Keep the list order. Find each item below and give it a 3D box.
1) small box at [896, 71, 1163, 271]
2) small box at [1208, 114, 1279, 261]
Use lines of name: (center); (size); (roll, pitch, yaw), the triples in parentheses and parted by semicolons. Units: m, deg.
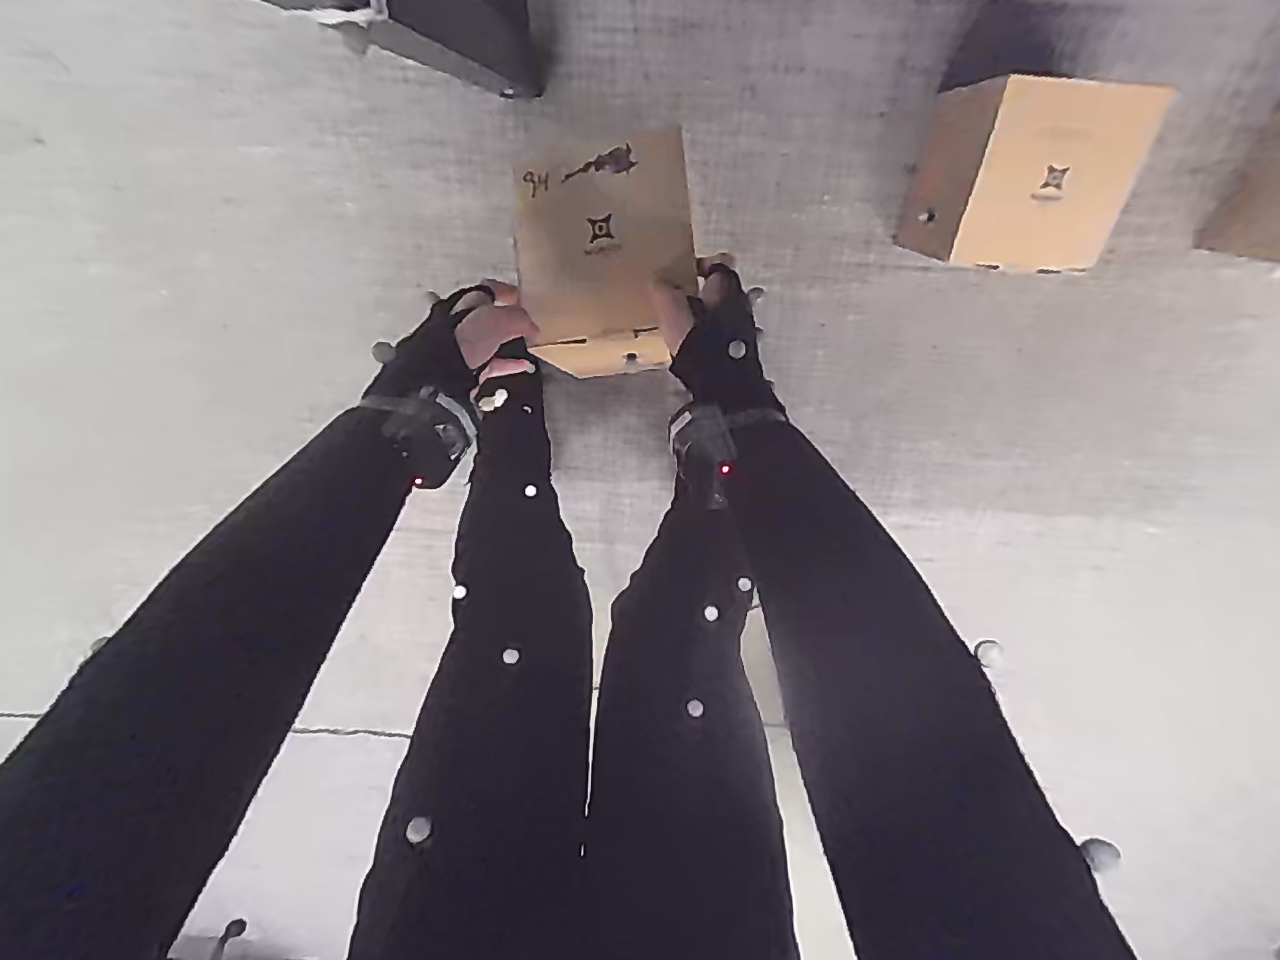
small box: (0.424, -0.352, 0.632); (0.168, 0.176, 0.179); (3, 118, 1)
small box: (0.826, -0.335, 0.608); (0.168, 0.176, 0.179); (7, 121, 0)
